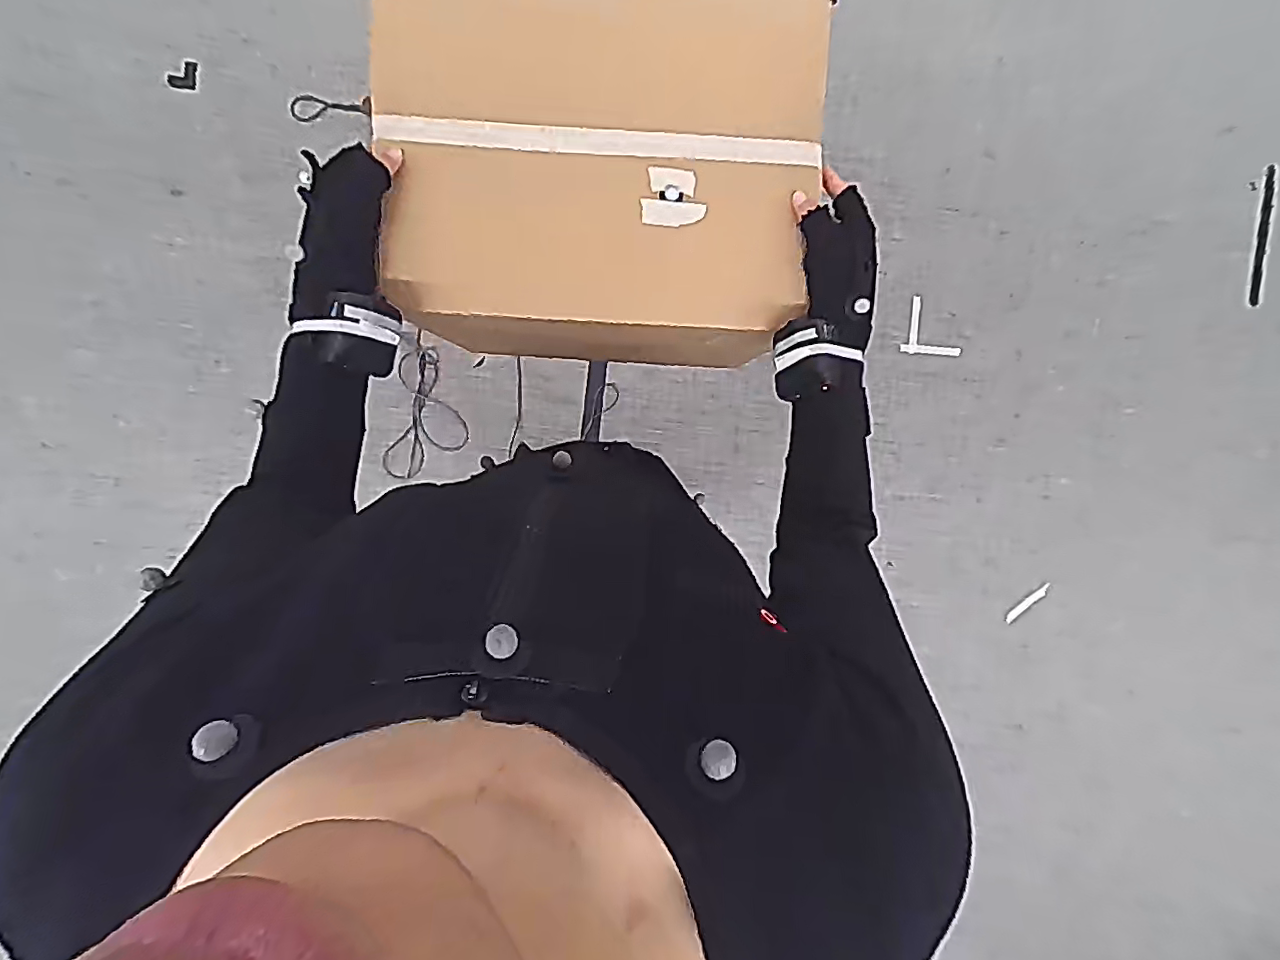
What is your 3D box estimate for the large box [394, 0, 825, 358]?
[{"bbox_3d":[-0.038,-0.328,0.657,0.408,0.320,0.320,2,97,-3],"label":"large box"}]
